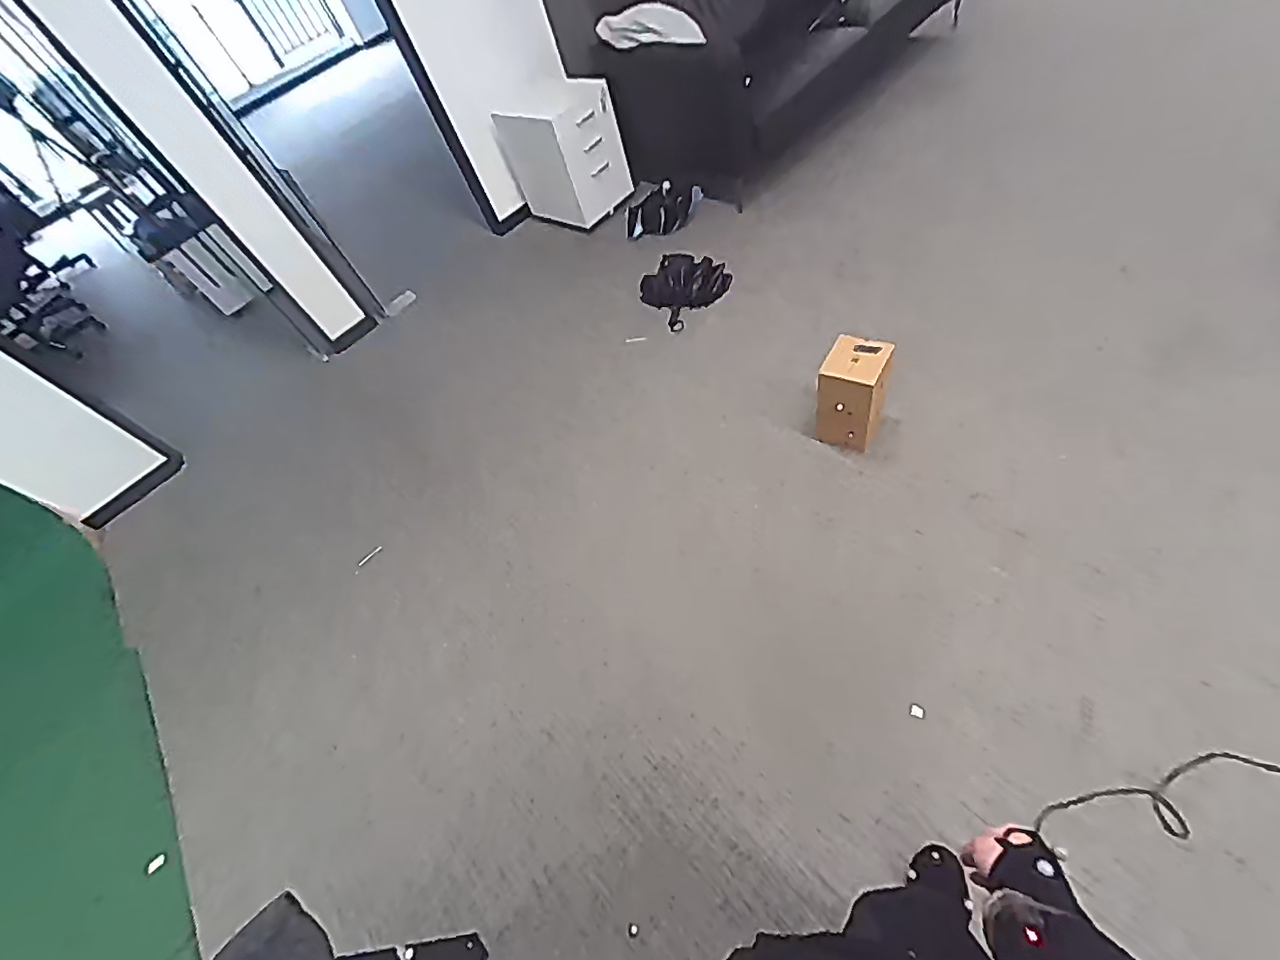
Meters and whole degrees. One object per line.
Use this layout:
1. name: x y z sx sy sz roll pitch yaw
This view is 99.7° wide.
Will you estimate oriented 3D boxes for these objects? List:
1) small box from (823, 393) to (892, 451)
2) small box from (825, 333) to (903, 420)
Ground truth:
1. small box: 0.712 -0.223 1.767 0.168 0.176 0.179 20 63 29
2. small box: 0.671 -0.312 1.634 0.168 0.176 0.179 21 66 30
